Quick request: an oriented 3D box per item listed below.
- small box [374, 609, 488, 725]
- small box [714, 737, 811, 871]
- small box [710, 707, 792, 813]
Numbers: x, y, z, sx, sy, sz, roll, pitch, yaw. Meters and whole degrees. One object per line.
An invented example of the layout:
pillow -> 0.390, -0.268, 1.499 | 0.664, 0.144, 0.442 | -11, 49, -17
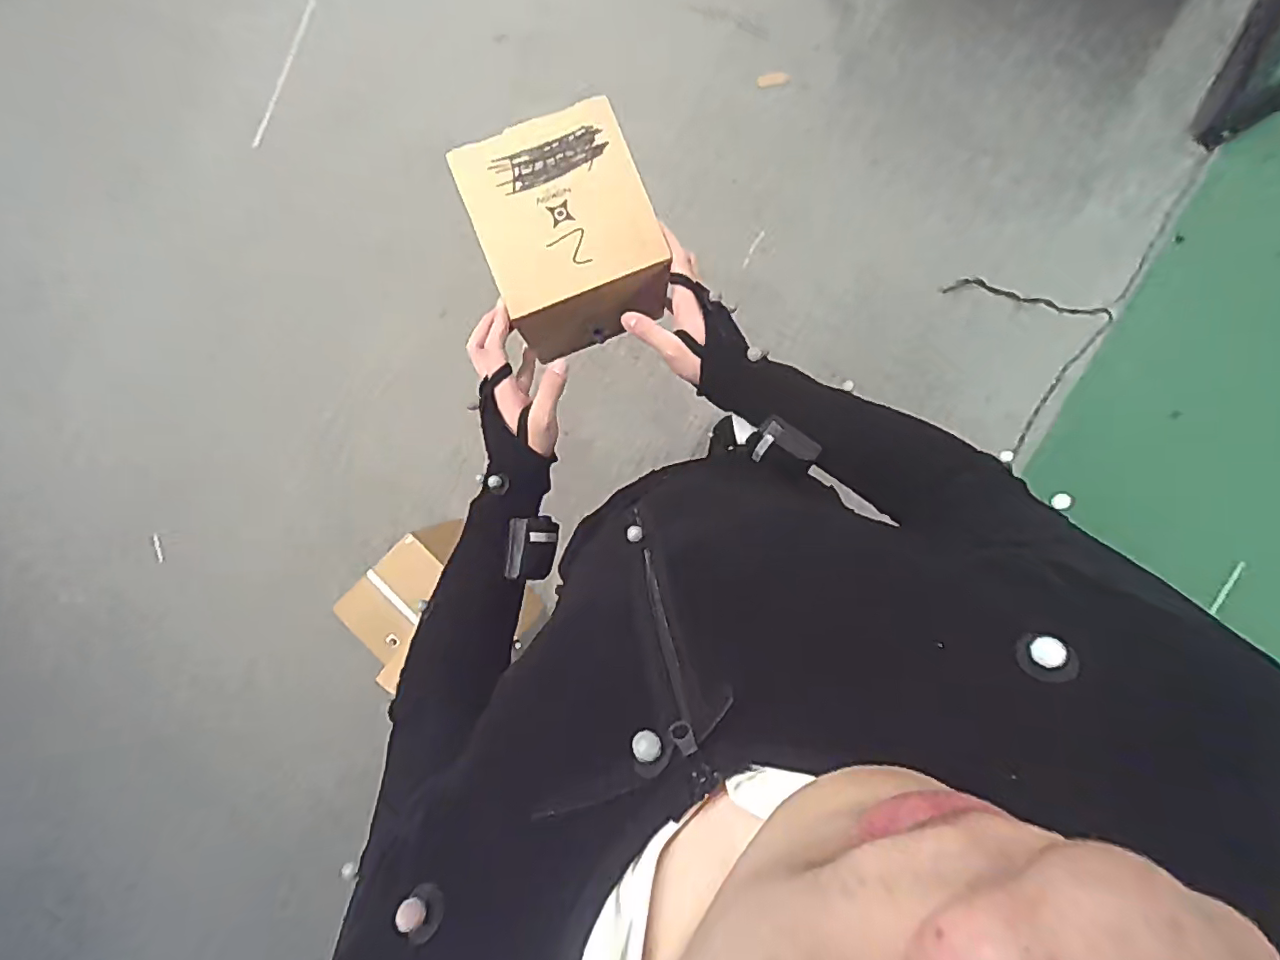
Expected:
small box -> -0.493, 0.442, 1.311 | 0.168, 0.176, 0.179 | 38, 94, 2
small box -> 0.244, 0.656, 1.107 | 0.168, 0.176, 0.179 | -5, 92, 4
small box -> 0.259, 0.654, 1.269 | 0.179, 0.176, 0.168 | -6, 93, 4
